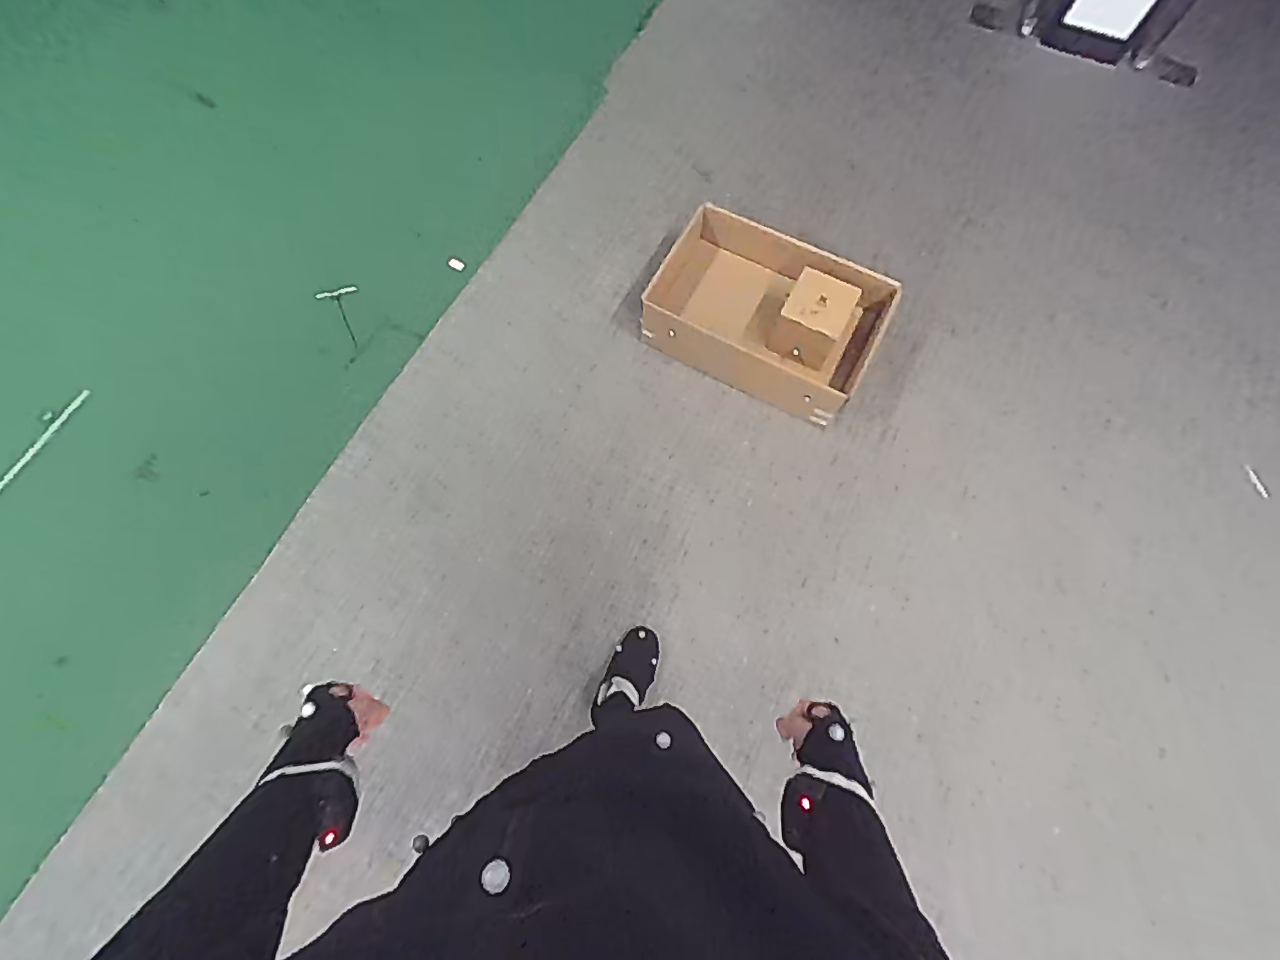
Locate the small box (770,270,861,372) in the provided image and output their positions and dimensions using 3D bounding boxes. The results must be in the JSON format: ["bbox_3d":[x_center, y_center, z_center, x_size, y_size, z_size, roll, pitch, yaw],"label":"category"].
[{"bbox_3d":[0.480,-0.437,1.502,0.168,0.176,0.179,27,74,11],"label":"small box"}]
